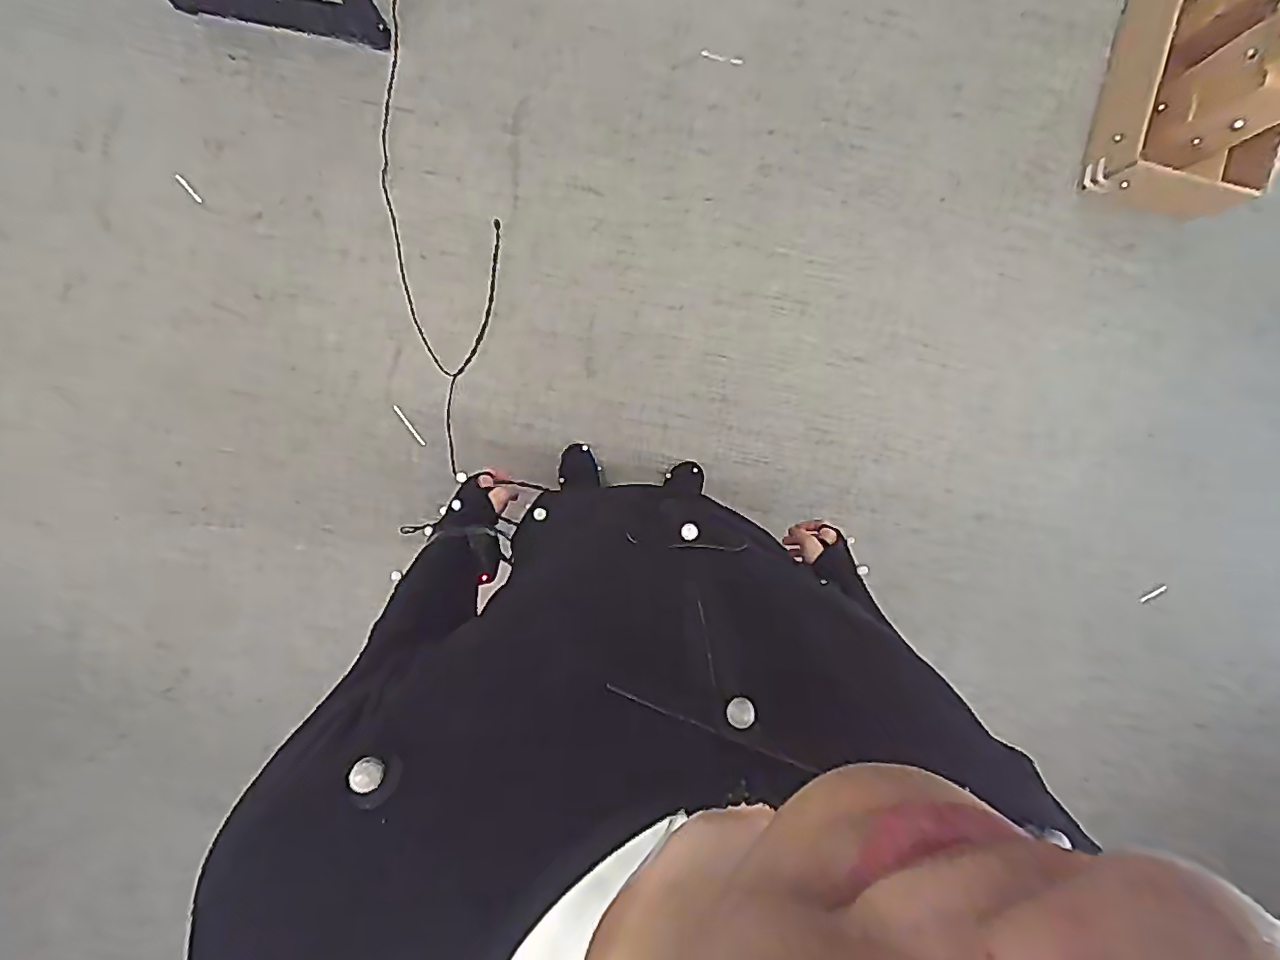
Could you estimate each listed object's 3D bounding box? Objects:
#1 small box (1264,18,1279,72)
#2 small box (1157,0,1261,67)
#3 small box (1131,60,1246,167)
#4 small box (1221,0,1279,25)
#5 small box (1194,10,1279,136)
[{"bbox_3d":[1.542,-1.006,1.172,0.179,0.176,0.168,14,93,-3],"label":"small box"},{"bbox_3d":[1.594,-1.278,1.485,0.179,0.176,0.168,11,94,-2],"label":"small box"},{"bbox_3d":[1.532,-1.006,1.500,0.179,0.176,0.168,14,93,-4],"label":"small box"},{"bbox_3d":[1.597,-1.266,1.319,0.168,0.176,0.179,11,95,-5],"label":"small box"},{"bbox_3d":[1.539,-0.997,1.335,0.168,0.176,0.179,10,93,-3],"label":"small box"}]
